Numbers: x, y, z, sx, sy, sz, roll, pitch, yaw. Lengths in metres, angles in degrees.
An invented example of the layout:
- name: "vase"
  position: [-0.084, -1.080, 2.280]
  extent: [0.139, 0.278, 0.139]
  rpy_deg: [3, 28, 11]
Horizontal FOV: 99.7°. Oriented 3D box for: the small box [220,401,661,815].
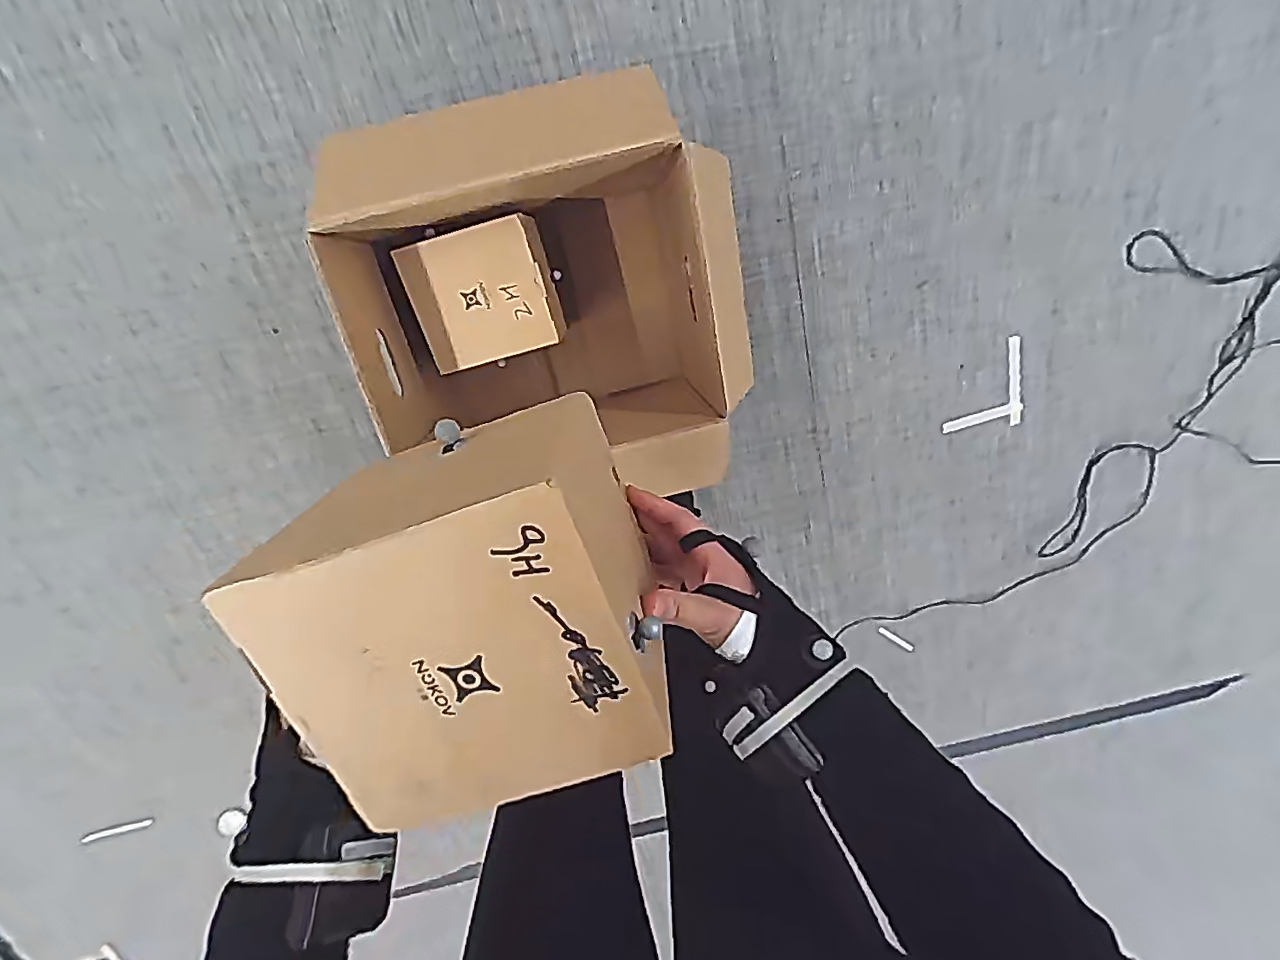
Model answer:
- name: "small box"
  position: [-0.092, 0.066, 0.345]
  extent: [0.179, 0.176, 0.168]
  rpy_deg: [-17, 112, 7]
